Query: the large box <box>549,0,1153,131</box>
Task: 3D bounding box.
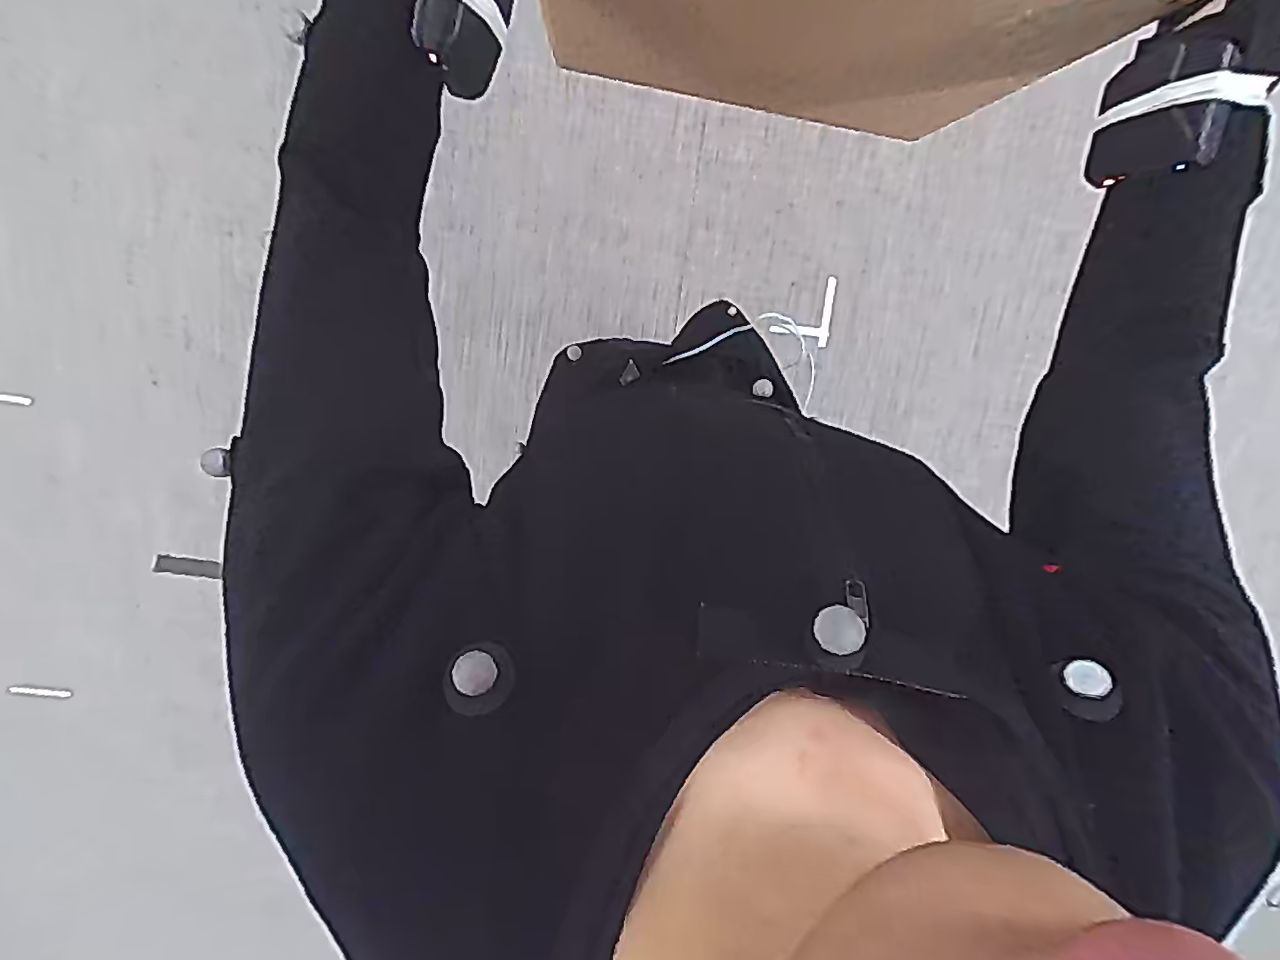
[{"bbox_3d":[0.140,-0.507,0.401,0.408,0.320,0.320,7,109,-7],"label":"large box"}]
